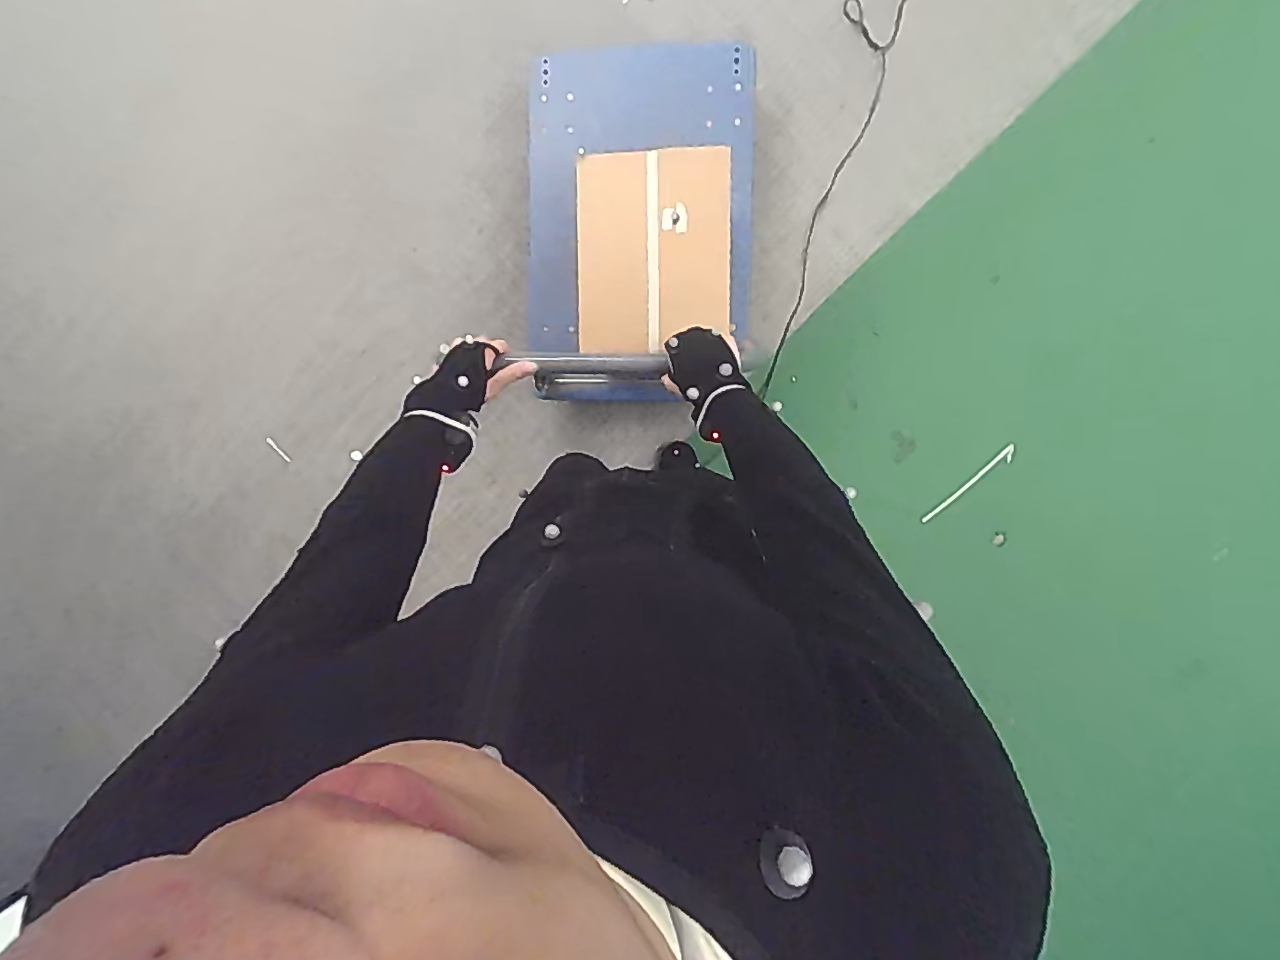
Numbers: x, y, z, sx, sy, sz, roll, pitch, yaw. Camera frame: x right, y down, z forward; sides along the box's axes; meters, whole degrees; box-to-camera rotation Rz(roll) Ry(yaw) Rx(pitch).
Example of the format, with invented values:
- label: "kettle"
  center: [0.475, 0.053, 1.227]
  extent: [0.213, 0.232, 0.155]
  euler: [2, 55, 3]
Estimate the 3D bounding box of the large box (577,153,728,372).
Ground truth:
- label: "large box"
  center: [0.040, -0.476, 1.272]
  extent: [0.320, 0.320, 0.408]
  euler: [0, 95, 5]
